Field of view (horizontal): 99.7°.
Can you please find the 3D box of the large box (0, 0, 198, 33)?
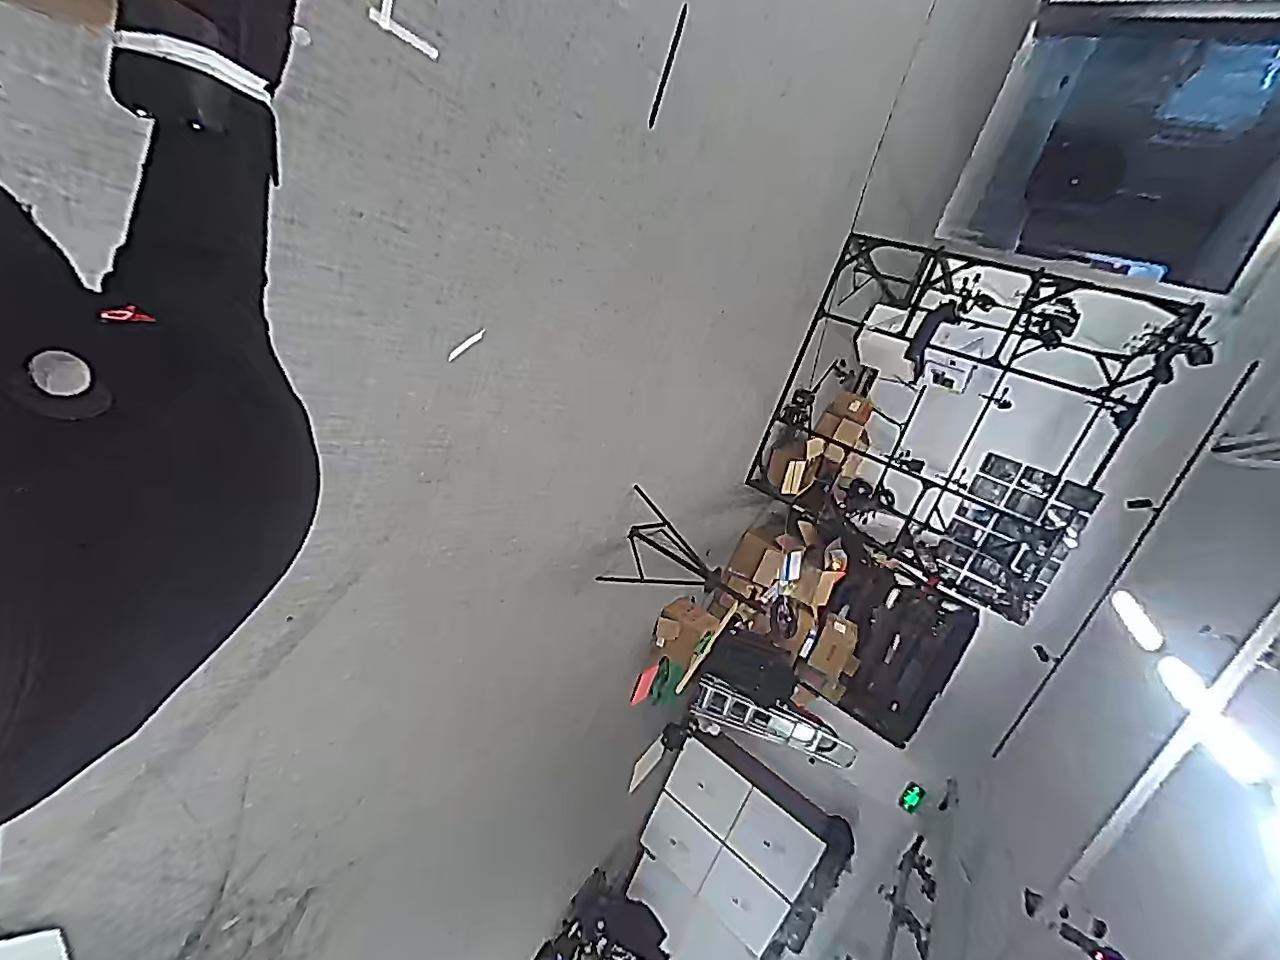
[{"bbox_3d":[-0.477,-0.486,0.228,0.408,0.320,0.320,-5,119,-58],"label":"large box"}]
